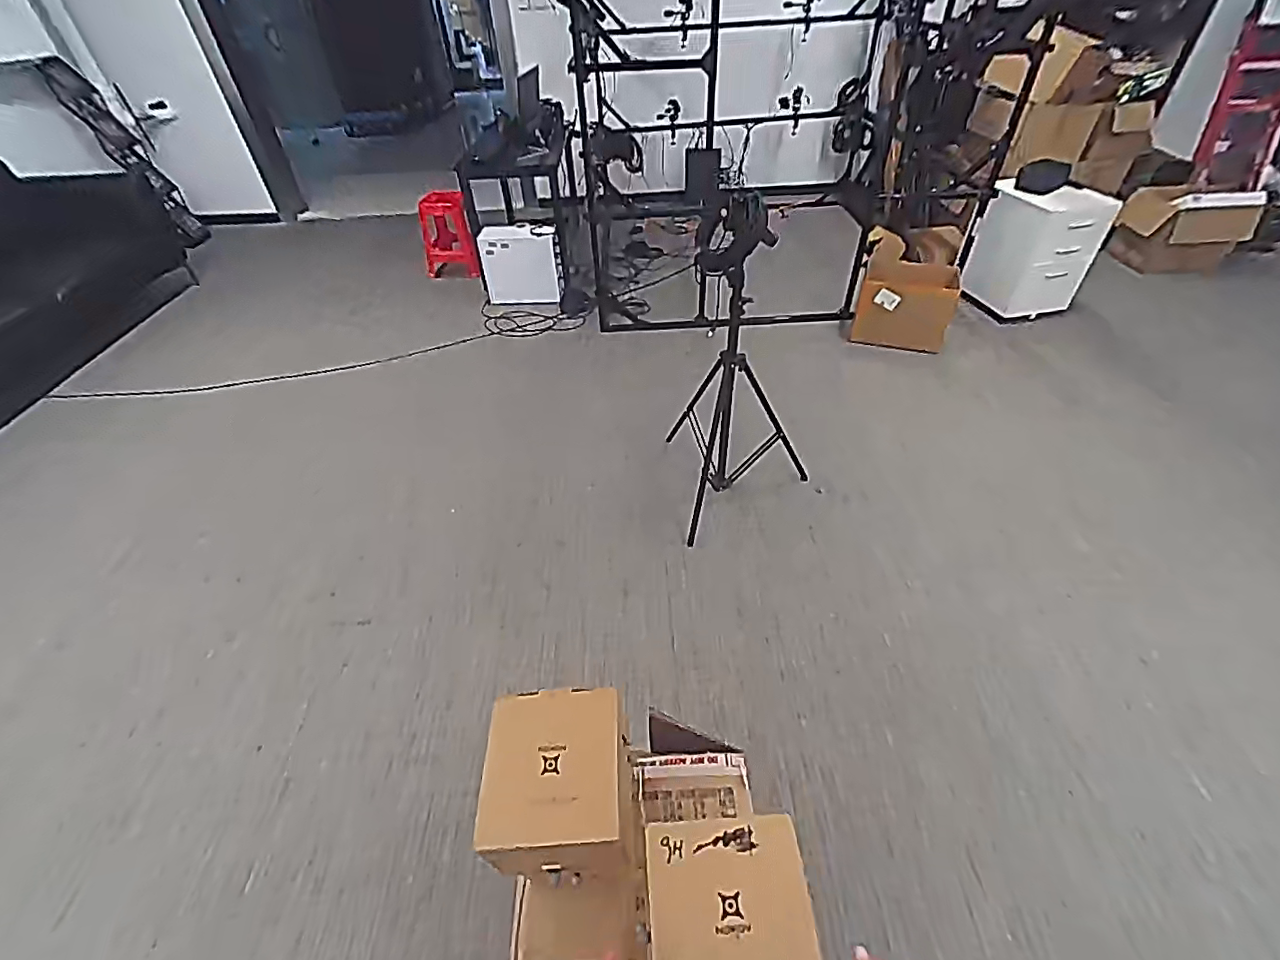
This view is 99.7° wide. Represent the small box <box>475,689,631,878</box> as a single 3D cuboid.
[{"bbox_3d":[-0.101,0.399,0.711,0.168,0.176,0.179,-5,46,1],"label":"small box"}]

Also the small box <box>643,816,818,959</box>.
[{"bbox_3d":[0.092,0.496,0.599,0.168,0.176,0.179,-3,45,-1],"label":"small box"}]
